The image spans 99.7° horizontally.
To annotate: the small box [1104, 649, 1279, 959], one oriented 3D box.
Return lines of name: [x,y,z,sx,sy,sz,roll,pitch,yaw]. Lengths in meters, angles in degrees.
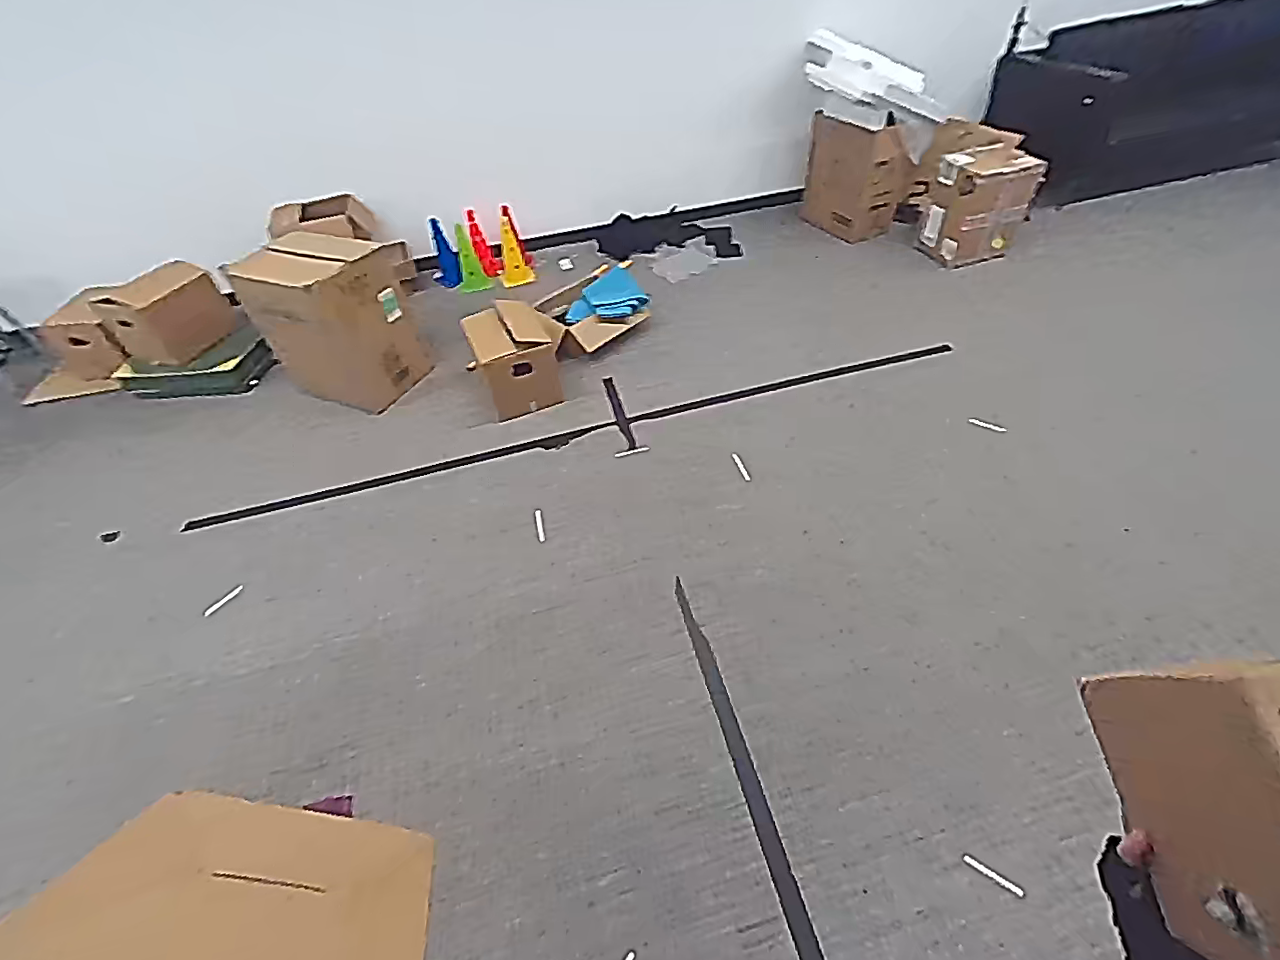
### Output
small box: [0.402,0.179,0.286,0.168,0.179,0.176,-11,68,12]
